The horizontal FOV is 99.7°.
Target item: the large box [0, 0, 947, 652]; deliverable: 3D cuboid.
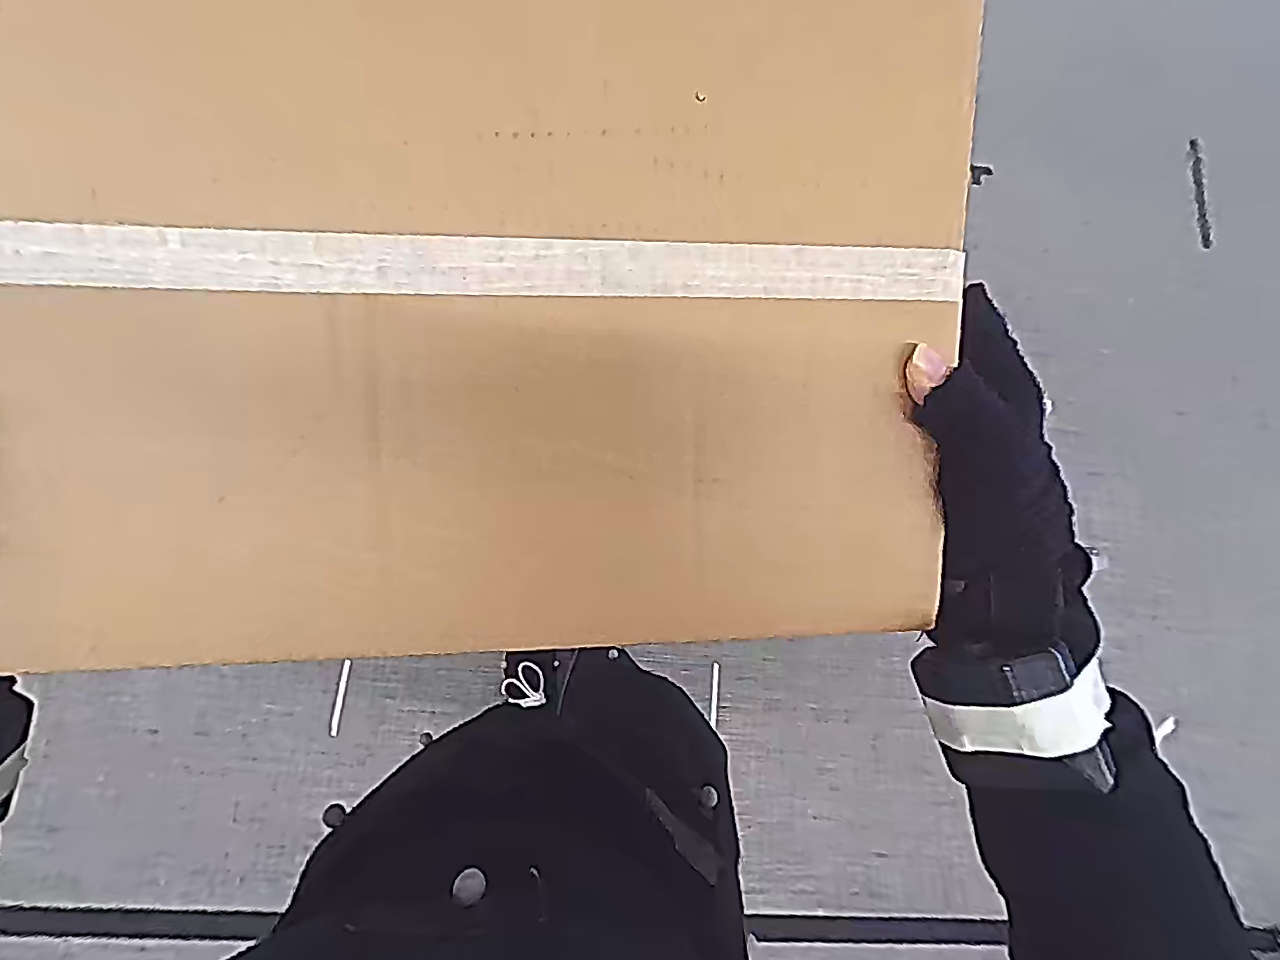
[{"bbox_3d":[-0.084,-0.108,0.367,0.408,0.320,0.320,-1,98,-7],"label":"large box"}]
